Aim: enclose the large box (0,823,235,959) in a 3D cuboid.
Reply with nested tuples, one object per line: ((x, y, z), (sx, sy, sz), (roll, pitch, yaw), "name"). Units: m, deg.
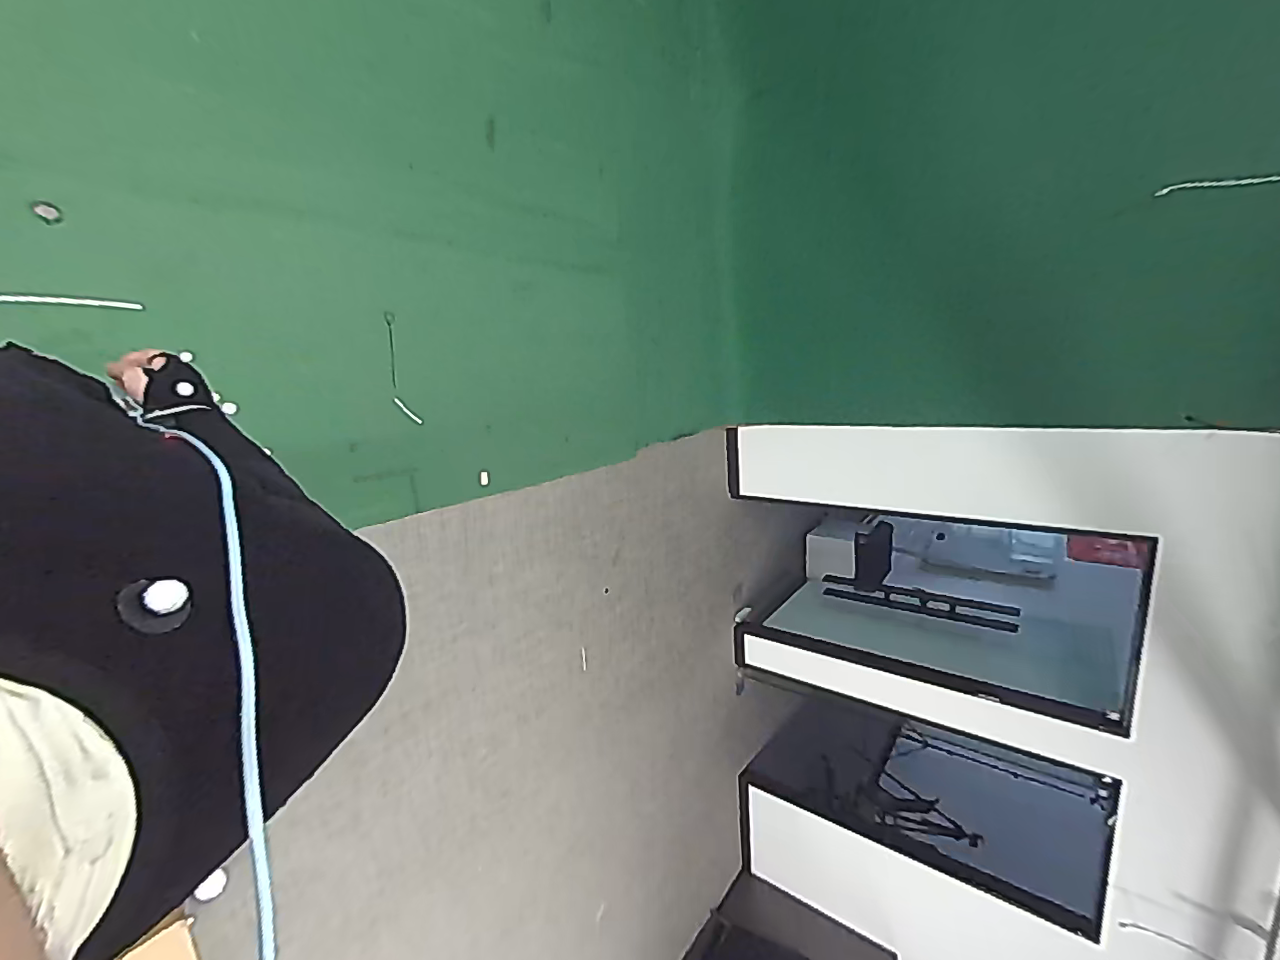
((-1.172, 1.059, 1.154), (0.408, 0.320, 0.320), (-21, 111, -49), "large box")
